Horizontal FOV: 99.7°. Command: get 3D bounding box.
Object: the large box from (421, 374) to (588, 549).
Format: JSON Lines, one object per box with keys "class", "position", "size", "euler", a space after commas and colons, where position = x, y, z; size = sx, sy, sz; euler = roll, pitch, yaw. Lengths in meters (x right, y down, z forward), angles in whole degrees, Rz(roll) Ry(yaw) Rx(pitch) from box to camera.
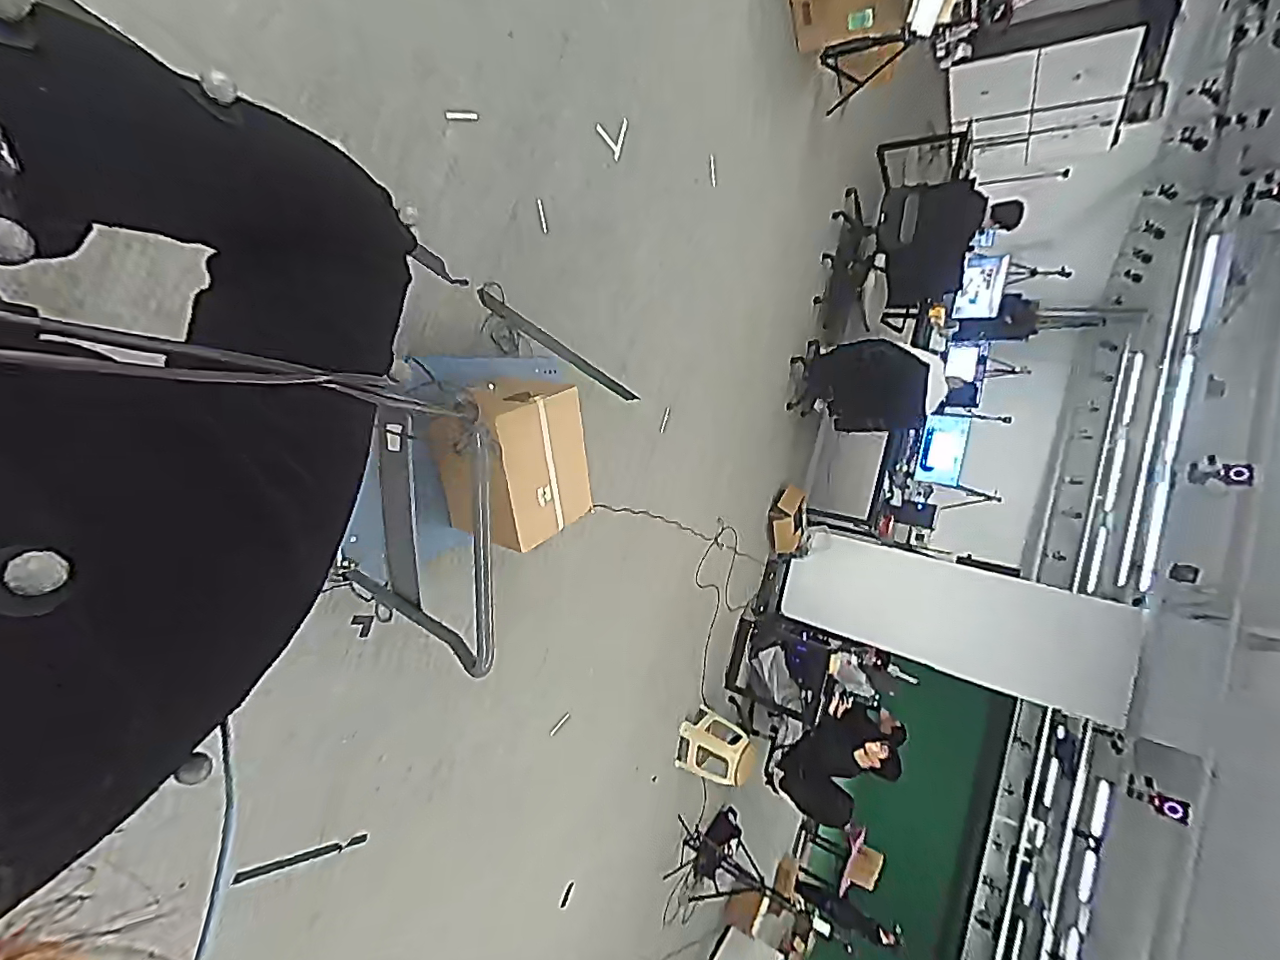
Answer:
{"class": "large box", "position": [-0.386, -0.072, 1.596], "size": [0.320, 0.320, 0.408], "euler": [-33, 127, -46]}
